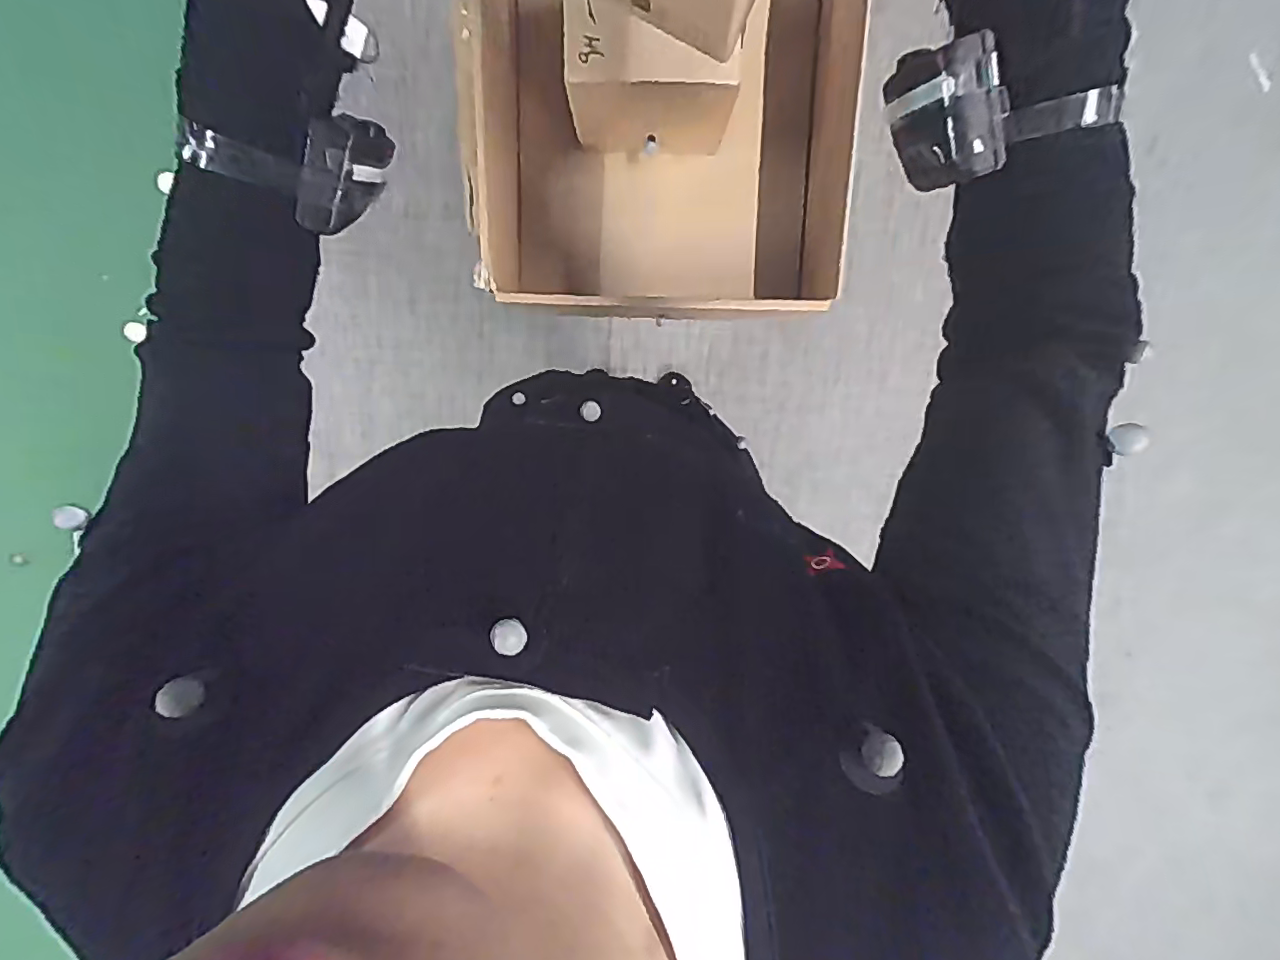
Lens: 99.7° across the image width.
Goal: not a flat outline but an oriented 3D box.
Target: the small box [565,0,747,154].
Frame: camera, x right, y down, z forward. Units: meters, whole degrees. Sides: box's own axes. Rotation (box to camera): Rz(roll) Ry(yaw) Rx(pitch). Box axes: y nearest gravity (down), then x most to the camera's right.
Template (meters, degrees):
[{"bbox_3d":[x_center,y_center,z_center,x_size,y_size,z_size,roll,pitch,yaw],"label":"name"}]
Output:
[{"bbox_3d":[0.014,-0.479,0.589,0.179,0.176,0.168,1,100,-1],"label":"small box"}]
